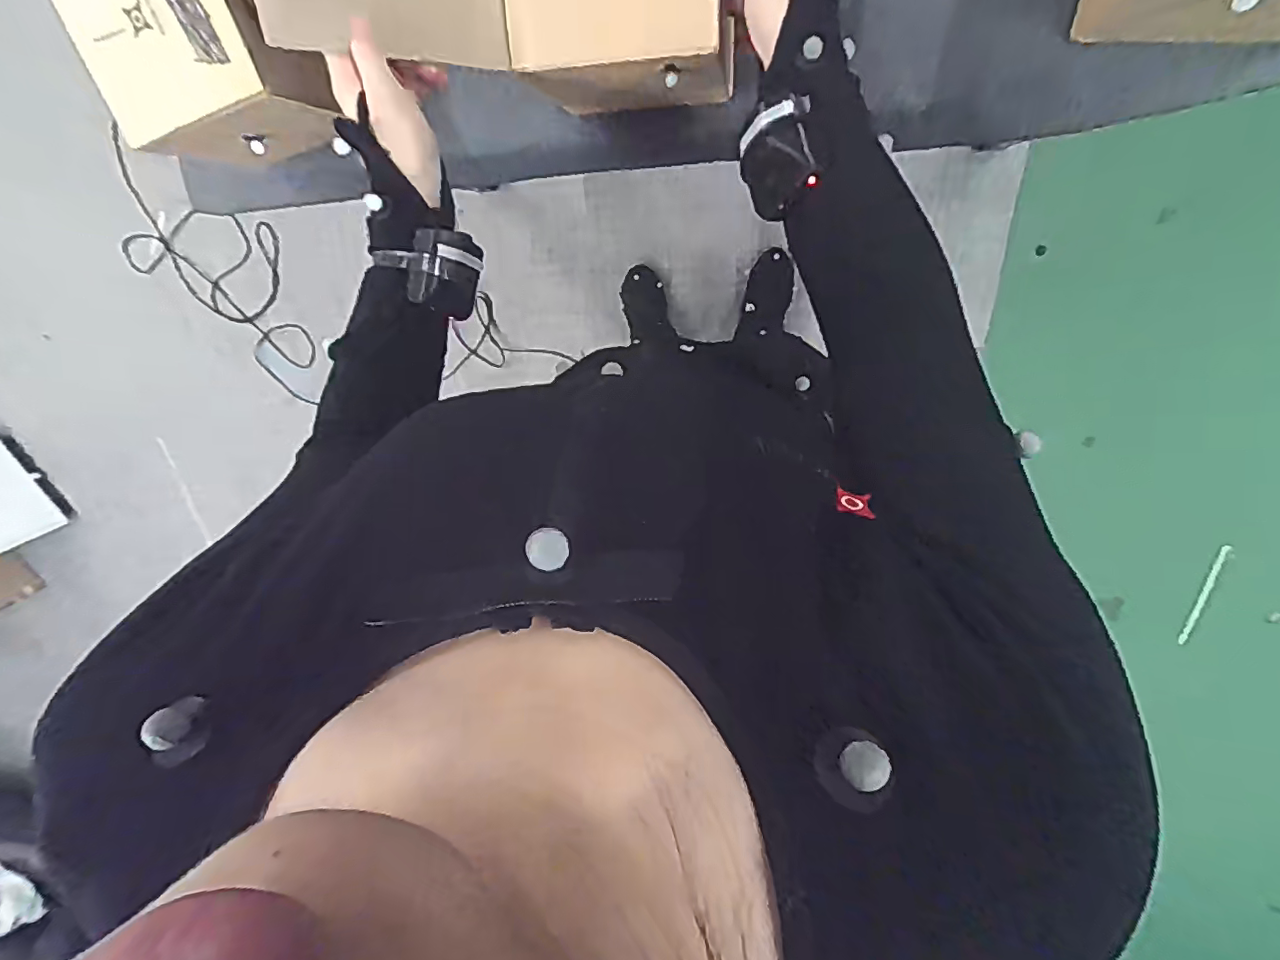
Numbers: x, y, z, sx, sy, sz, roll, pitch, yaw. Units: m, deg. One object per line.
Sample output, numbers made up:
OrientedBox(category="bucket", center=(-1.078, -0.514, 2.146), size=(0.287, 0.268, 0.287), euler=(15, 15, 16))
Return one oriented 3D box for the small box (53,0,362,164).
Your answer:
OrientedBox(category="small box", center=(-0.420, -0.440, 0.550), size=(0.179, 0.176, 0.168), euler=(-8, 113, 16))
